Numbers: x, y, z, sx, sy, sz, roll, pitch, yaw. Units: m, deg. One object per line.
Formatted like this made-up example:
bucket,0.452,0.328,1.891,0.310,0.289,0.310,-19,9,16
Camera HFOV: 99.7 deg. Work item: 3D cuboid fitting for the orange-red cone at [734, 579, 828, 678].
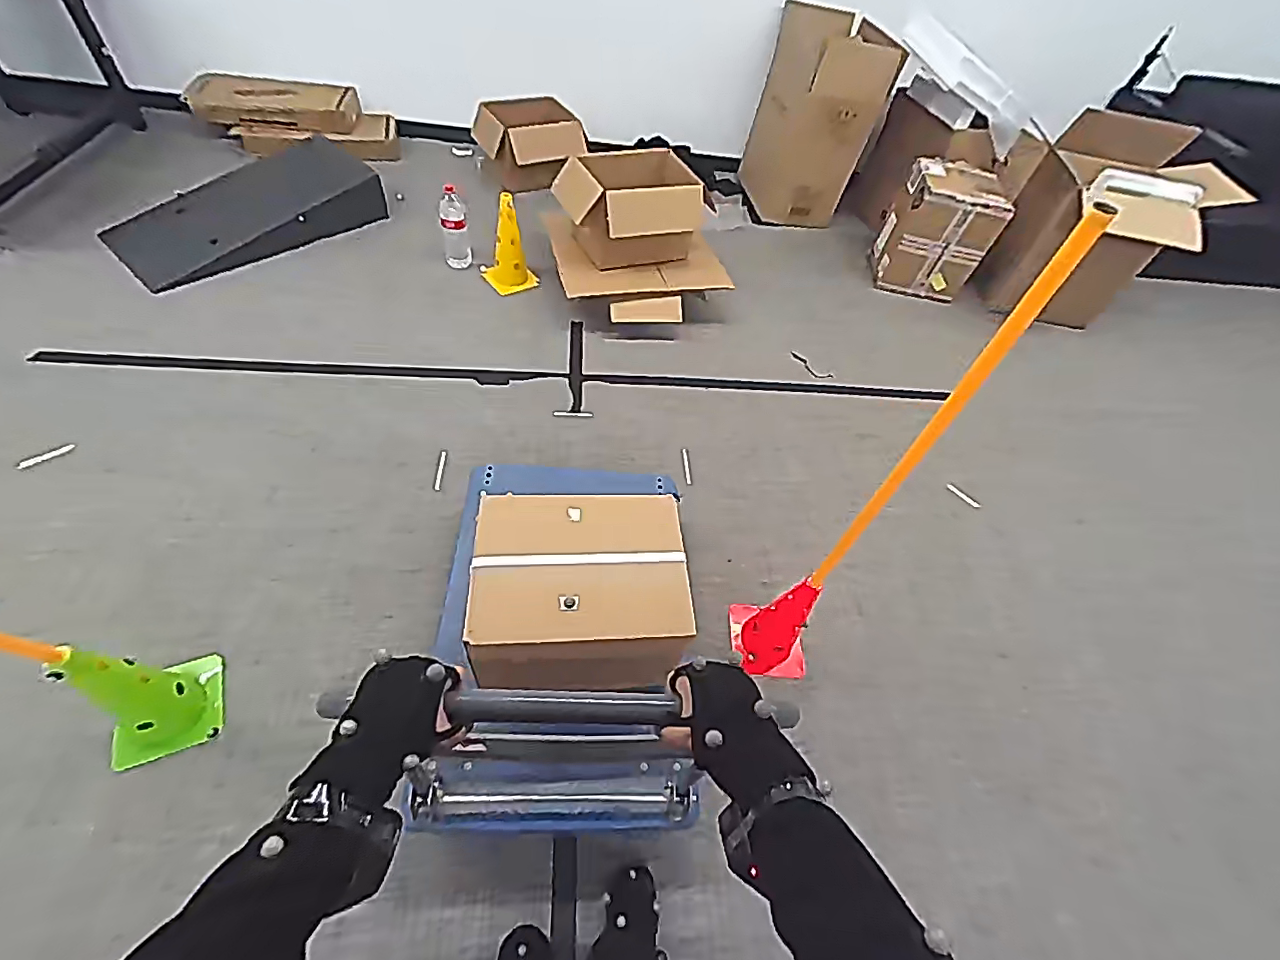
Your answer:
orange-red cone,0.384,0.342,1.360,0.199,0.360,0.198,7,53,-5
